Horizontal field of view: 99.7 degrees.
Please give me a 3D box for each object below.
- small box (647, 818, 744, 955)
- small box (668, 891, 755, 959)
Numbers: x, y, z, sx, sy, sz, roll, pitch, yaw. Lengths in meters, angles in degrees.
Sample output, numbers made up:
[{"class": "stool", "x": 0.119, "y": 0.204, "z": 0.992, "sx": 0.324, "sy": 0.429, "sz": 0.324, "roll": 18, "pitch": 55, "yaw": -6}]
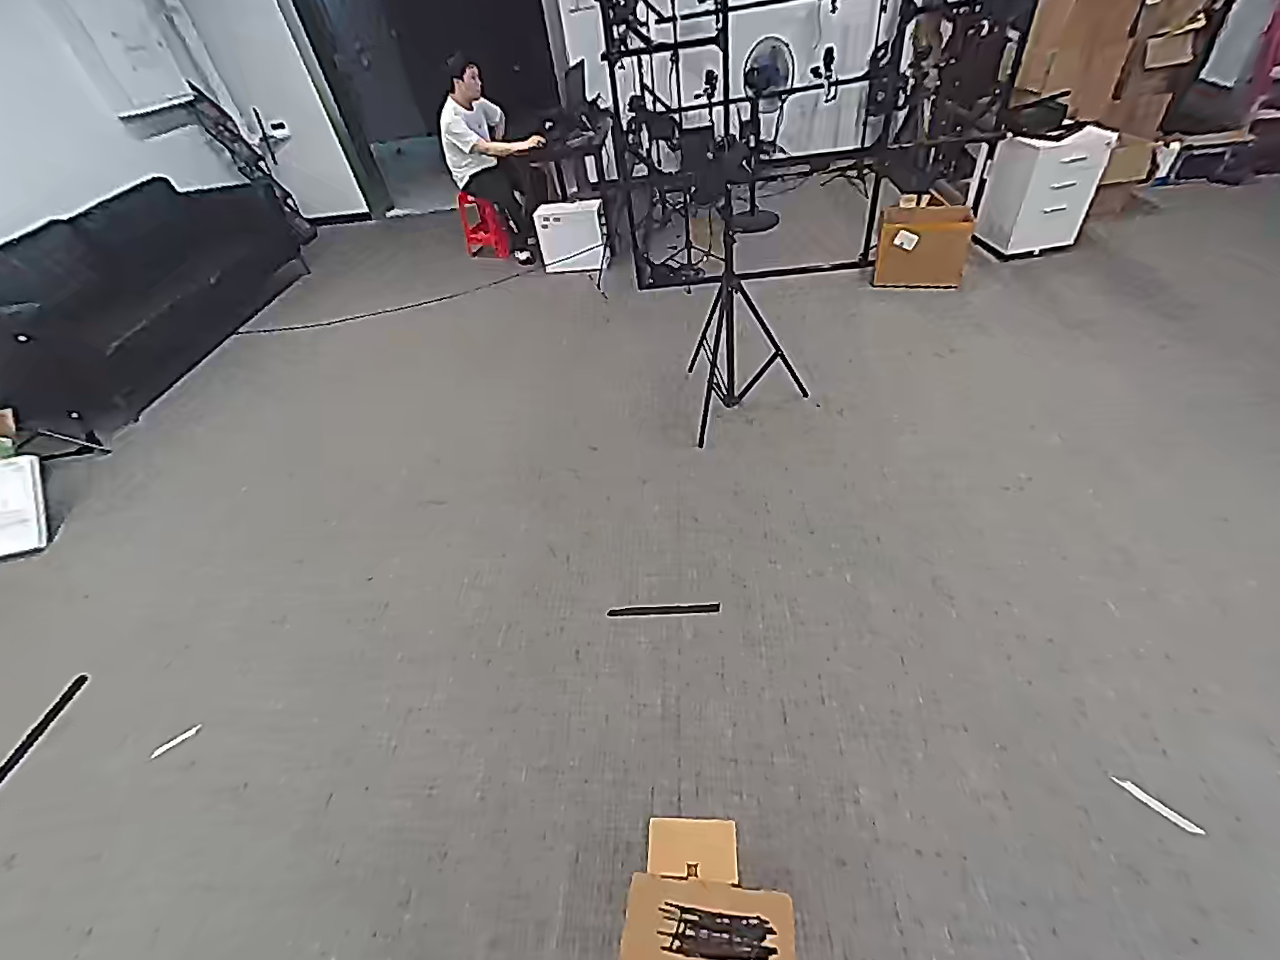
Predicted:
[{"class": "small box", "x": 0.106, "y": 0.764, "z": 1.018, "sx": 0.168, "sy": 0.176, "sz": 0.179, "roll": -3, "pitch": 43, "yaw": 7}, {"class": "small box", "x": 0.133, "y": 0.887, "z": 1.123, "sx": 0.168, "sy": 0.176, "sz": 0.179, "roll": -12, "pitch": 43, "yaw": -1}]
